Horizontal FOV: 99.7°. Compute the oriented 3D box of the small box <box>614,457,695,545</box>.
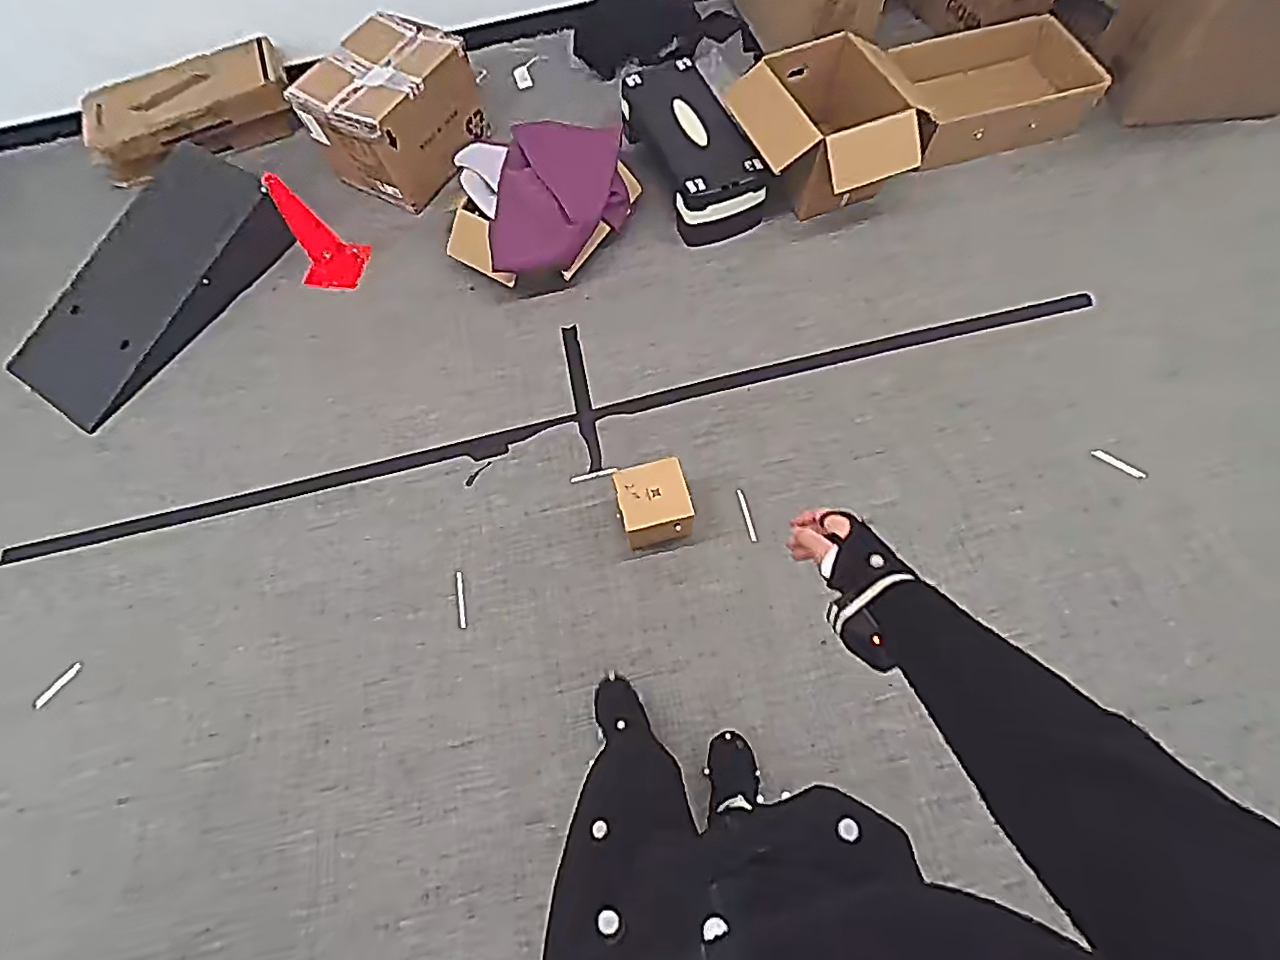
[{"bbox_3d":[0.036,0.060,1.425,0.179,0.176,0.168,-14,68,-2],"label":"small box"}]
